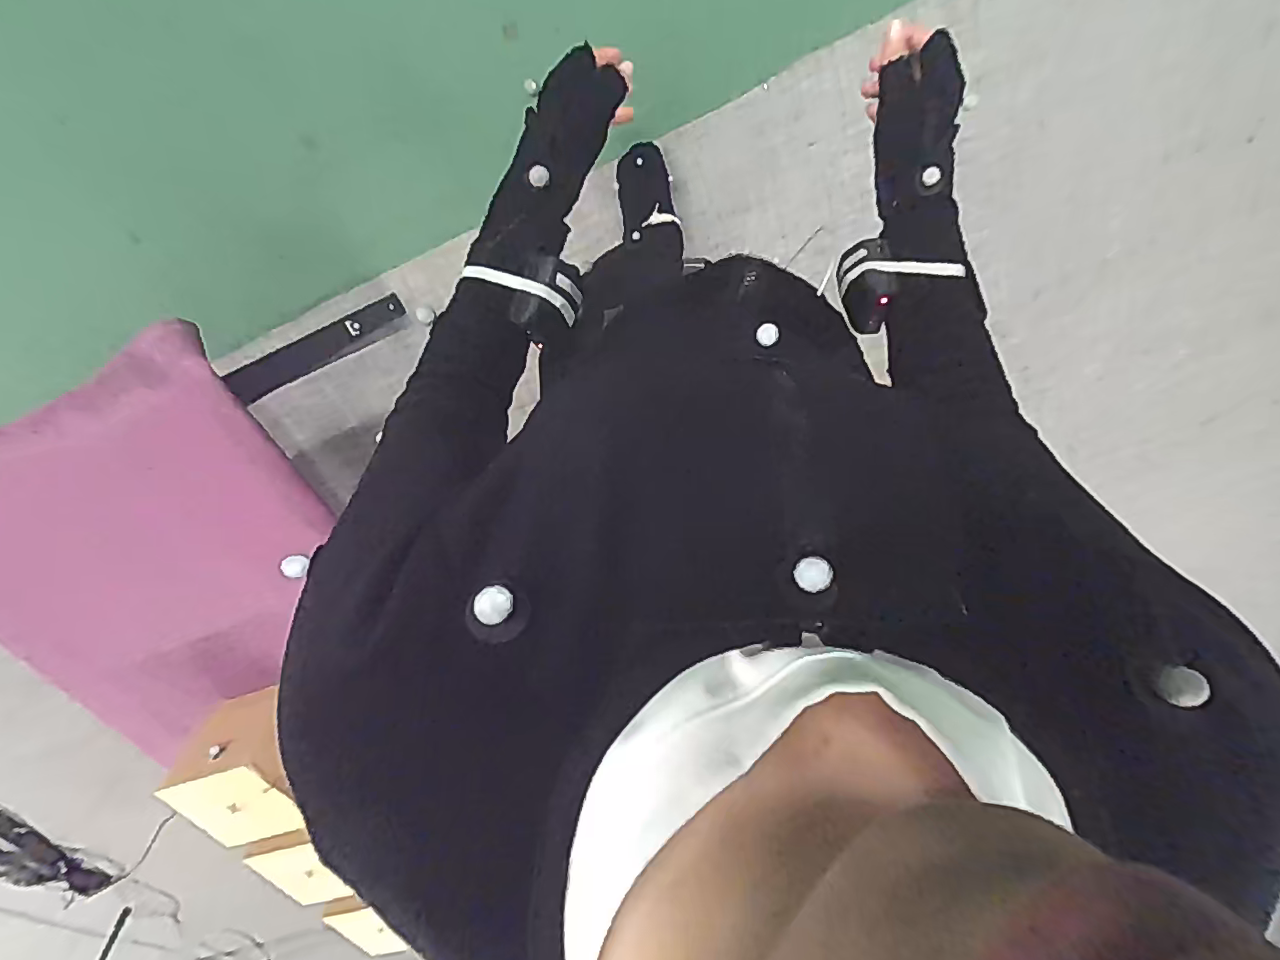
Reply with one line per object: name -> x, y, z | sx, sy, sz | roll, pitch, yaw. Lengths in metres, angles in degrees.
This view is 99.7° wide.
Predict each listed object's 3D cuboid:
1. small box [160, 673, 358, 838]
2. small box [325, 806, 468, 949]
small box -> -0.626, 0.460, 0.915 | 0.179, 0.176, 0.168 | -19, 117, 9
small box -> -0.482, 0.803, 1.099 | 0.179, 0.176, 0.168 | -19, 117, 10
